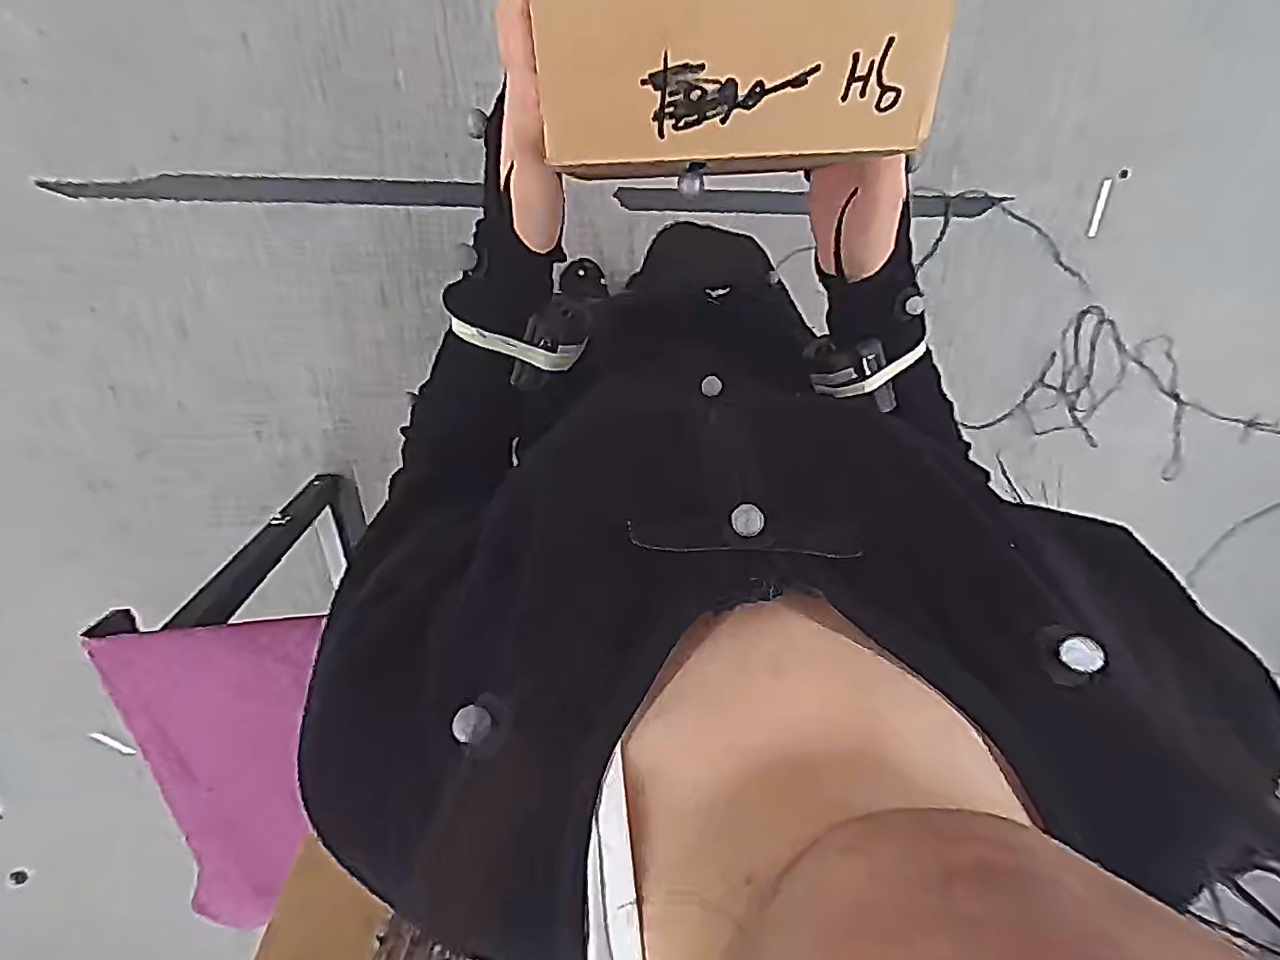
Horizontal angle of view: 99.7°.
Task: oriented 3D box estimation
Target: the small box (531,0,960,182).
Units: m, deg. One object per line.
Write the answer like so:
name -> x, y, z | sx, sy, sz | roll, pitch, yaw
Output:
small box -> 0.037, -0.249, 0.260 | 0.168, 0.176, 0.179 | -2, 117, 0
